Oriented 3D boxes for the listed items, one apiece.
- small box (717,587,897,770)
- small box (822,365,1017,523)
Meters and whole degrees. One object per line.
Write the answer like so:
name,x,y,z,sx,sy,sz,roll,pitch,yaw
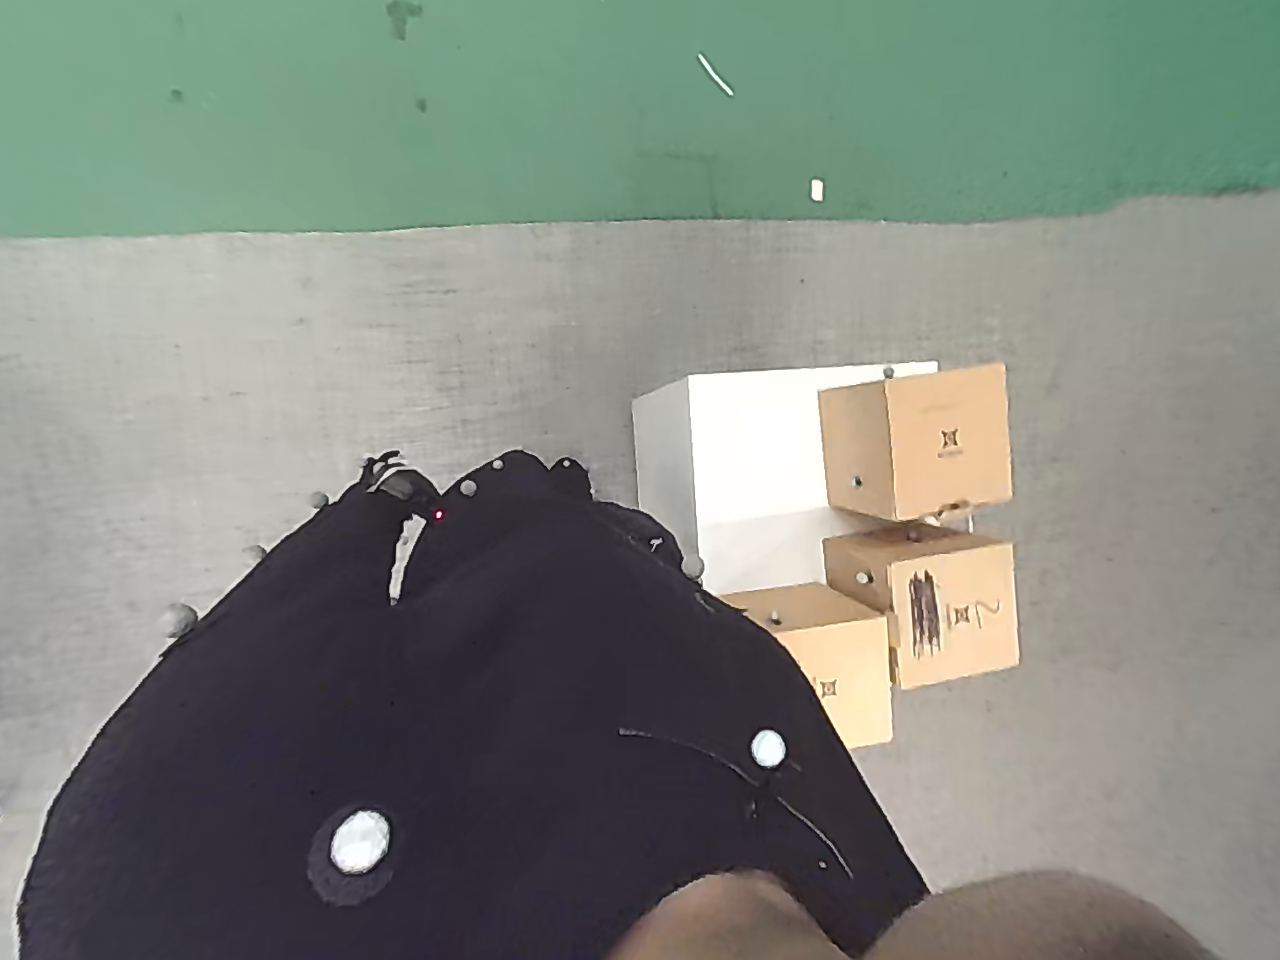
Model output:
small box,0.216,0.252,0.731,0.179,0.176,0.168,-6,95,-9
small box,0.367,-0.052,0.733,0.168,0.176,0.179,-9,96,-9
